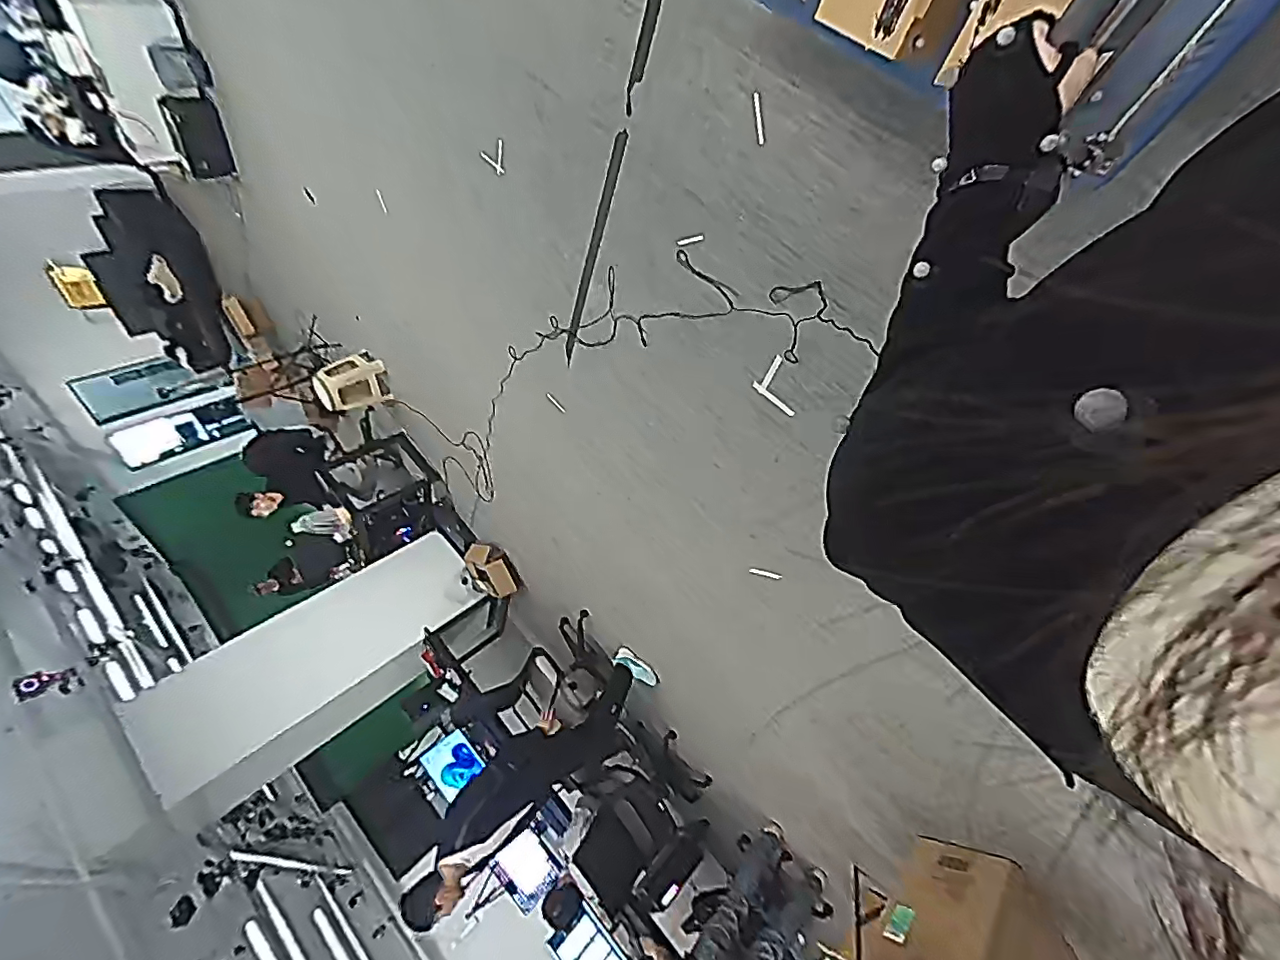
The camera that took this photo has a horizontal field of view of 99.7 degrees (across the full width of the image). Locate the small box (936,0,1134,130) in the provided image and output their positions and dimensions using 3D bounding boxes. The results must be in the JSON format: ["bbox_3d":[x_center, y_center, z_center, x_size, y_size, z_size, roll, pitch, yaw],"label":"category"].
[{"bbox_3d":[0.616,-0.679,0.845,0.179,0.176,0.168,42,141,19],"label":"small box"}]
